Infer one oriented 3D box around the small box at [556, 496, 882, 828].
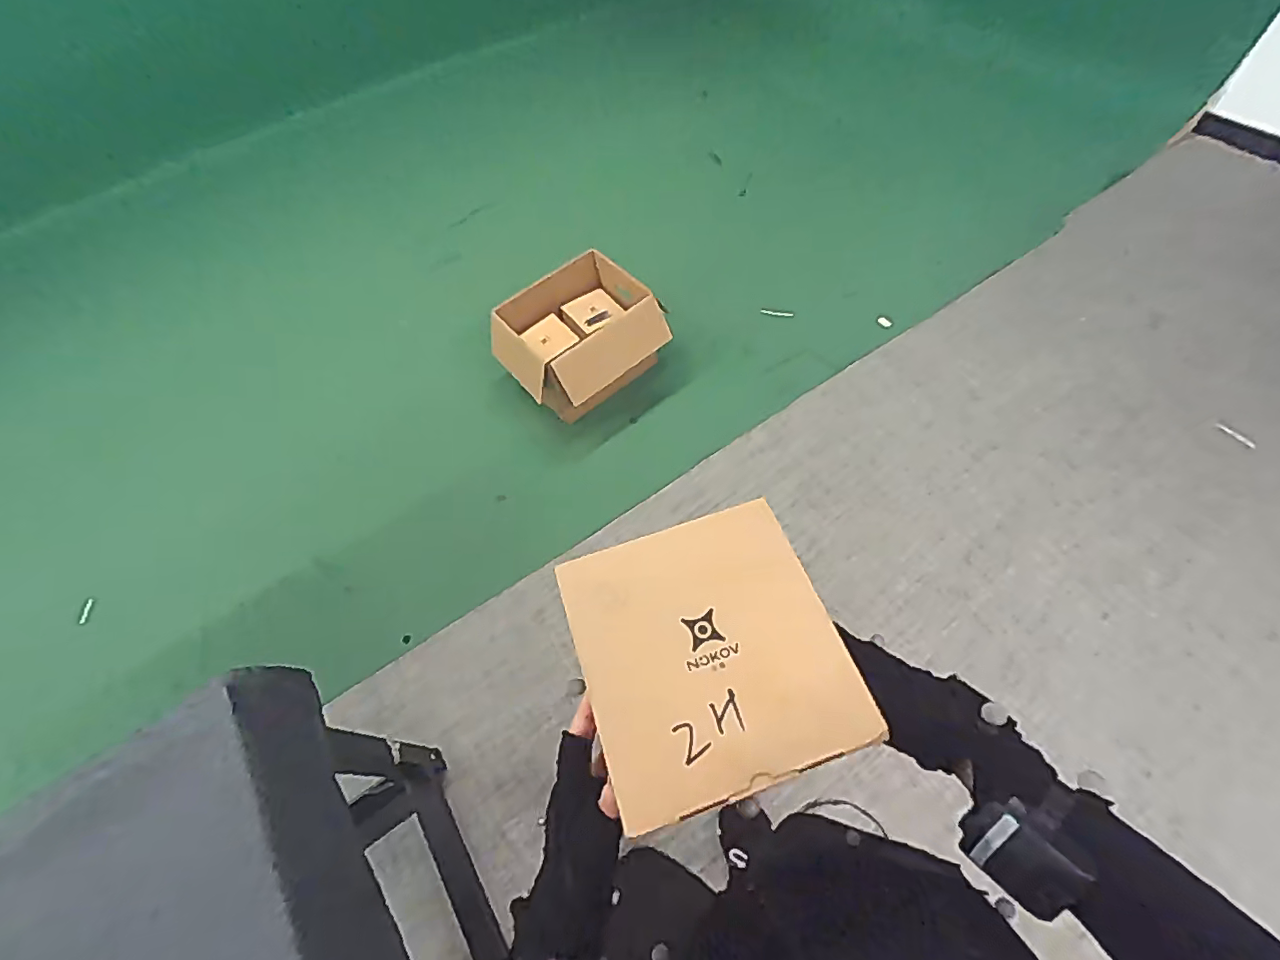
[{"bbox_3d":[0.045,0.144,0.419,0.168,0.176,0.179,-18,60,-6],"label":"small box"}]
